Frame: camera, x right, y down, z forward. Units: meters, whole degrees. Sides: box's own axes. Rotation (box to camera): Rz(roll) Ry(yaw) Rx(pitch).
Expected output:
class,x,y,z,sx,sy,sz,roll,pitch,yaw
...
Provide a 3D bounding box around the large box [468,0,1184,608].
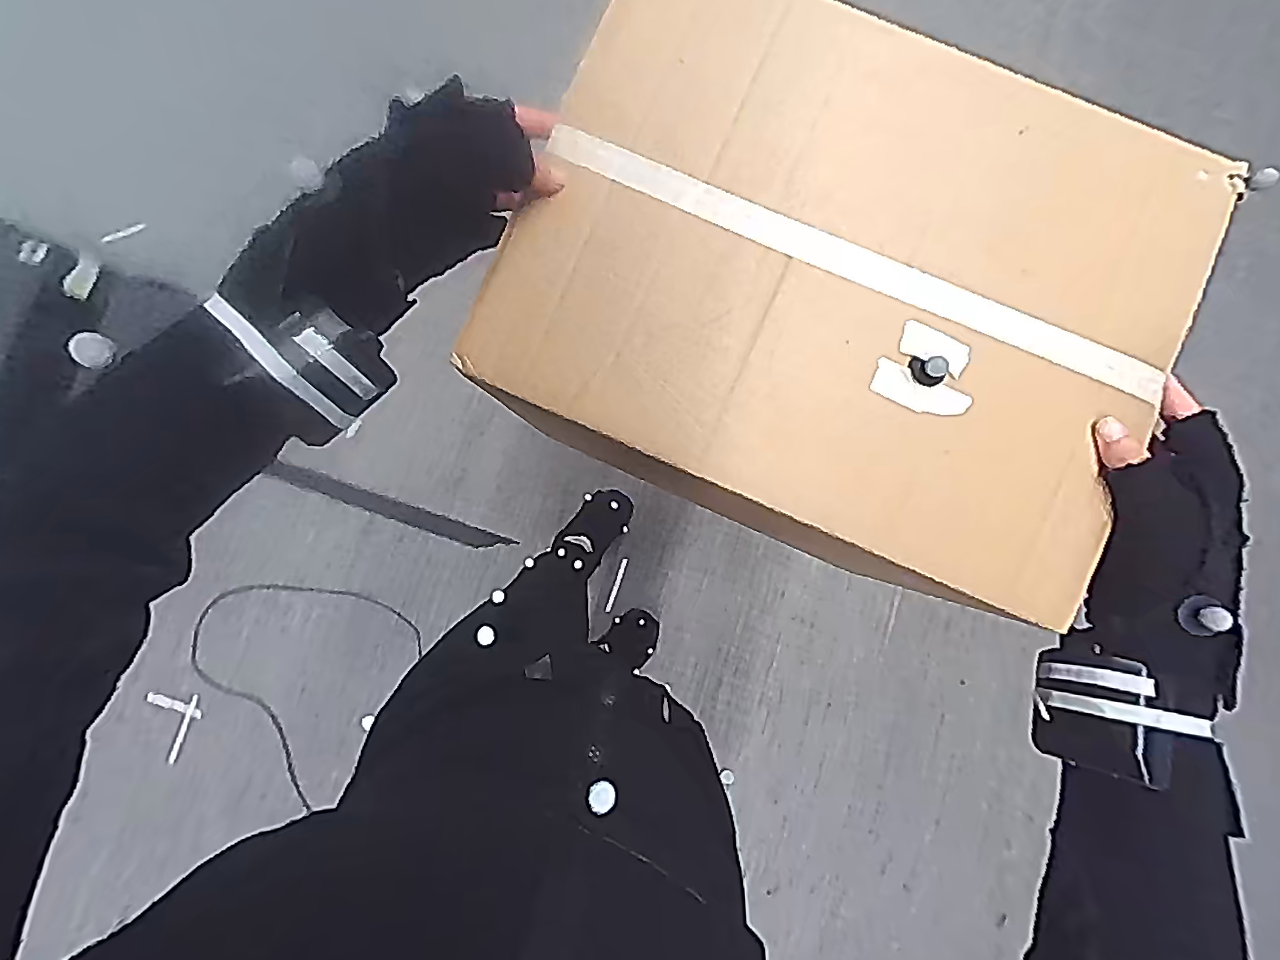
class,x,y,z,sx,sy,sz,roll,pitch,yaw
large box,0.123,-0.121,0.504,0.408,0.320,0.320,23,88,1
